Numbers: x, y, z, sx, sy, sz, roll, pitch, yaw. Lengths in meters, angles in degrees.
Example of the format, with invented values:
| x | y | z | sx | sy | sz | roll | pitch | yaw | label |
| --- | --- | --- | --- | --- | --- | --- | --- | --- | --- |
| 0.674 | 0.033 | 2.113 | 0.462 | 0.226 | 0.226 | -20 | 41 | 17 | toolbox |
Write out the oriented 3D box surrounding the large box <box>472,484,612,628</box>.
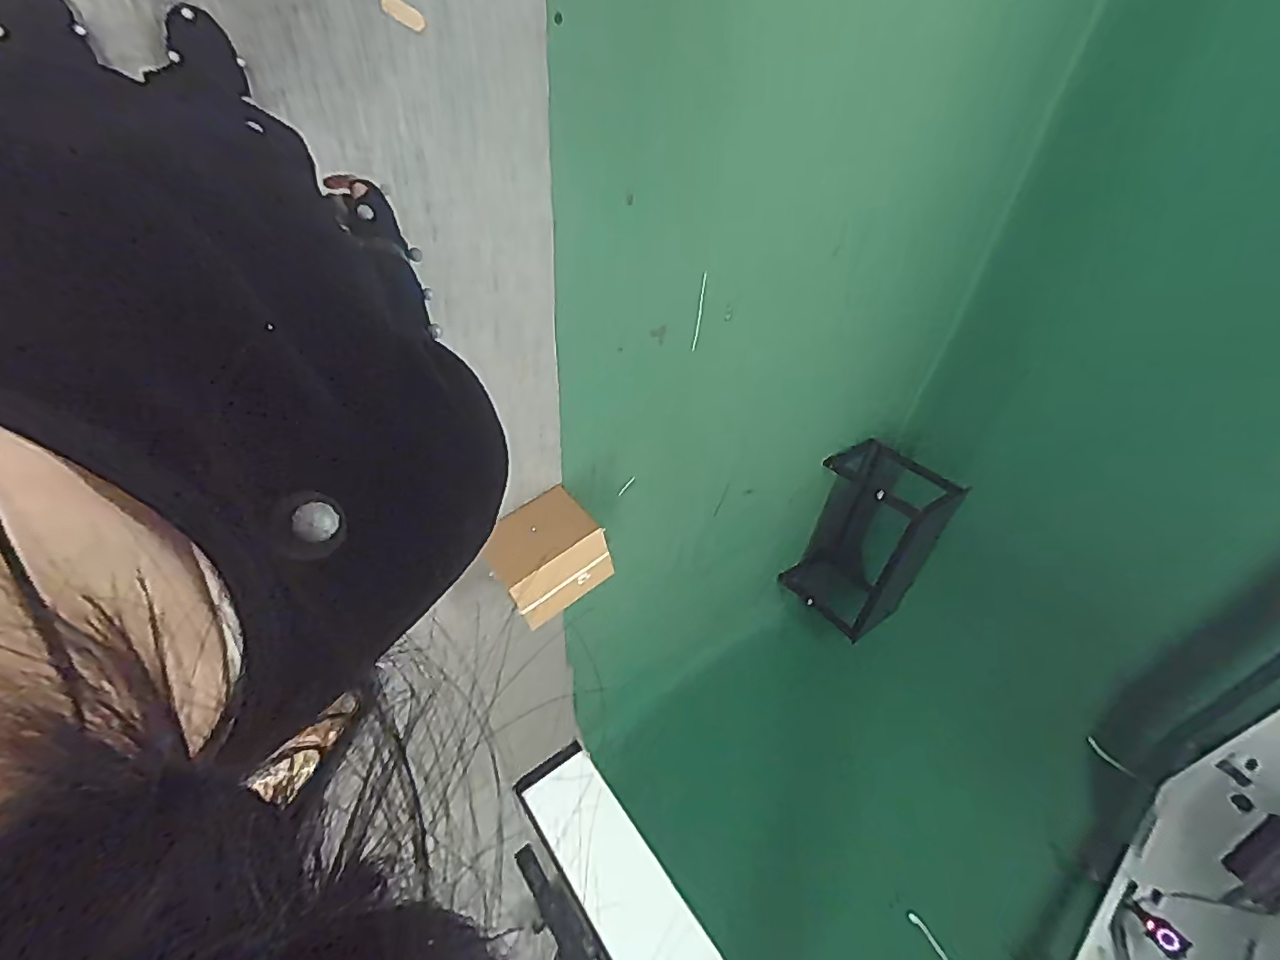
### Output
| x | y | z | sx | sy | sz | roll | pitch | yaw | label |
| --- | --- | --- | --- | --- | --- | --- | --- | --- | --- |
| -0.380 | 0.292 | 2.137 | 0.408 | 0.320 | 0.320 | -34 | 142 | -21 | large box |
